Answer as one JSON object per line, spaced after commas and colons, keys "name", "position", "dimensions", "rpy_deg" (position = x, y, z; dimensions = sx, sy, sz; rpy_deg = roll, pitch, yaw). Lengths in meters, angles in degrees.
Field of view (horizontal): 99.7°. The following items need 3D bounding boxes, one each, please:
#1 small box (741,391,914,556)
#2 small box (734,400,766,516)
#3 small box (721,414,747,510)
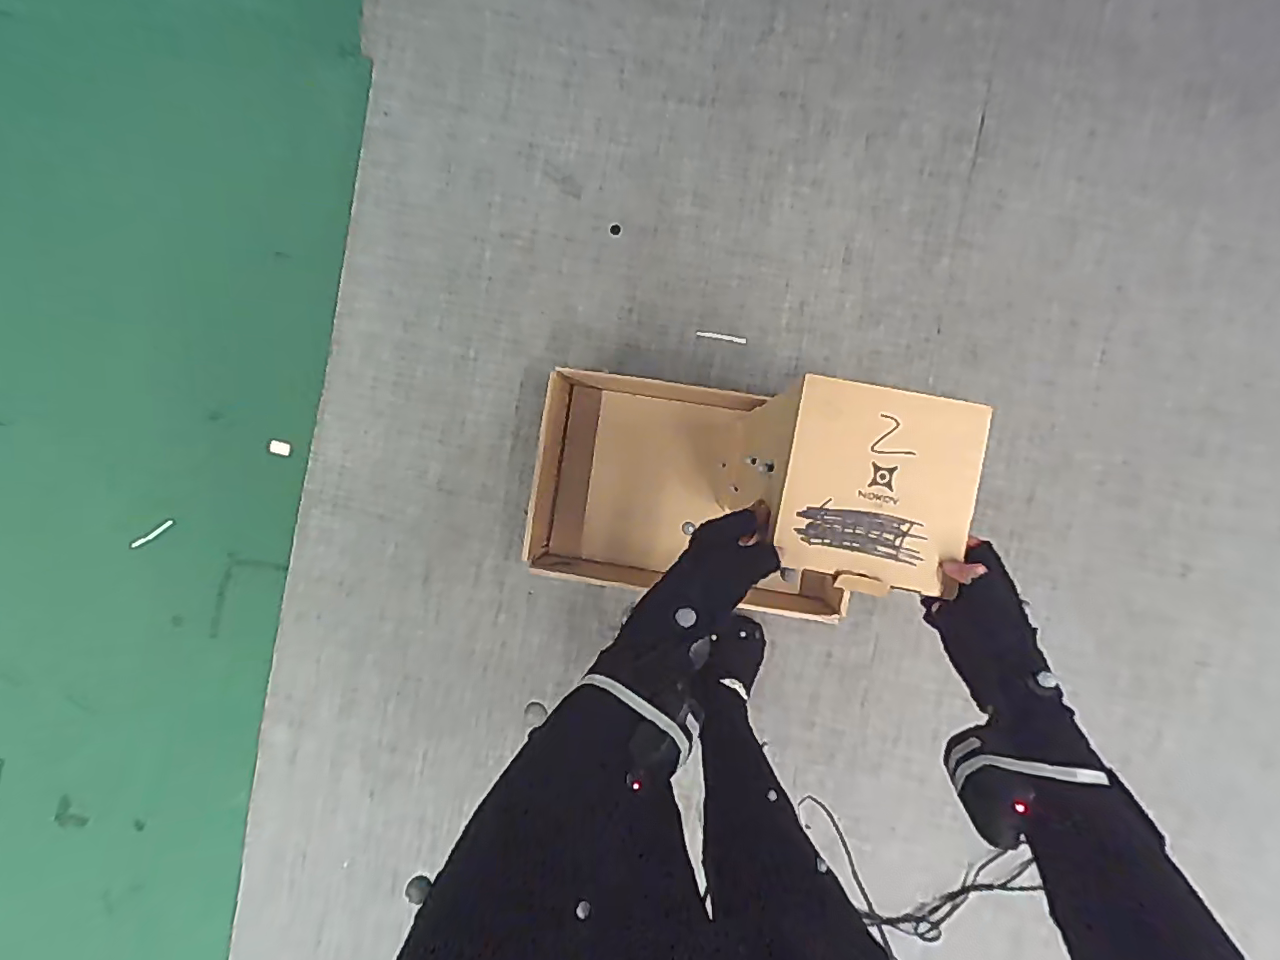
{"name": "small box", "position": [0.235, -0.011, 0.724], "dimensions": [0.168, 0.176, 0.179], "rpy_deg": [10, 93, 3]}
{"name": "small box", "position": [0.248, -0.023, 0.870], "dimensions": [0.168, 0.176, 0.179], "rpy_deg": [9, 93, 4]}
{"name": "small box", "position": [0.248, -0.030, 1.053], "dimensions": [0.168, 0.176, 0.179], "rpy_deg": [5, 92, 5]}
